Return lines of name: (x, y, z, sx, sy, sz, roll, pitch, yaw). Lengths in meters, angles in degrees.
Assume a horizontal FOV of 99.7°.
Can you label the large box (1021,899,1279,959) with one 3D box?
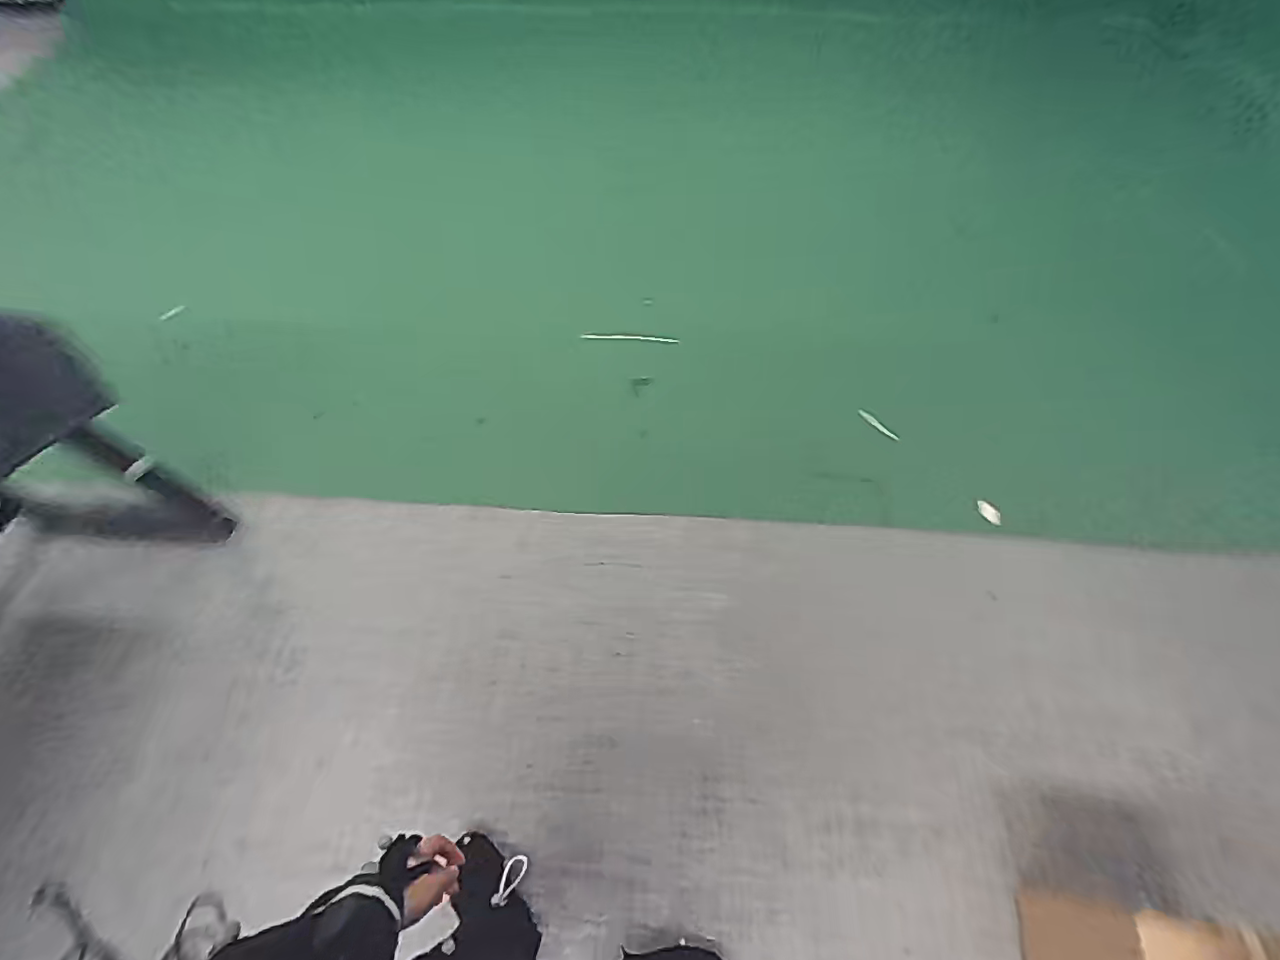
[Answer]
large box: (0.839, 0.915, 0.797, 0.320, 0.320, 0.408, 8, 61, 7)
